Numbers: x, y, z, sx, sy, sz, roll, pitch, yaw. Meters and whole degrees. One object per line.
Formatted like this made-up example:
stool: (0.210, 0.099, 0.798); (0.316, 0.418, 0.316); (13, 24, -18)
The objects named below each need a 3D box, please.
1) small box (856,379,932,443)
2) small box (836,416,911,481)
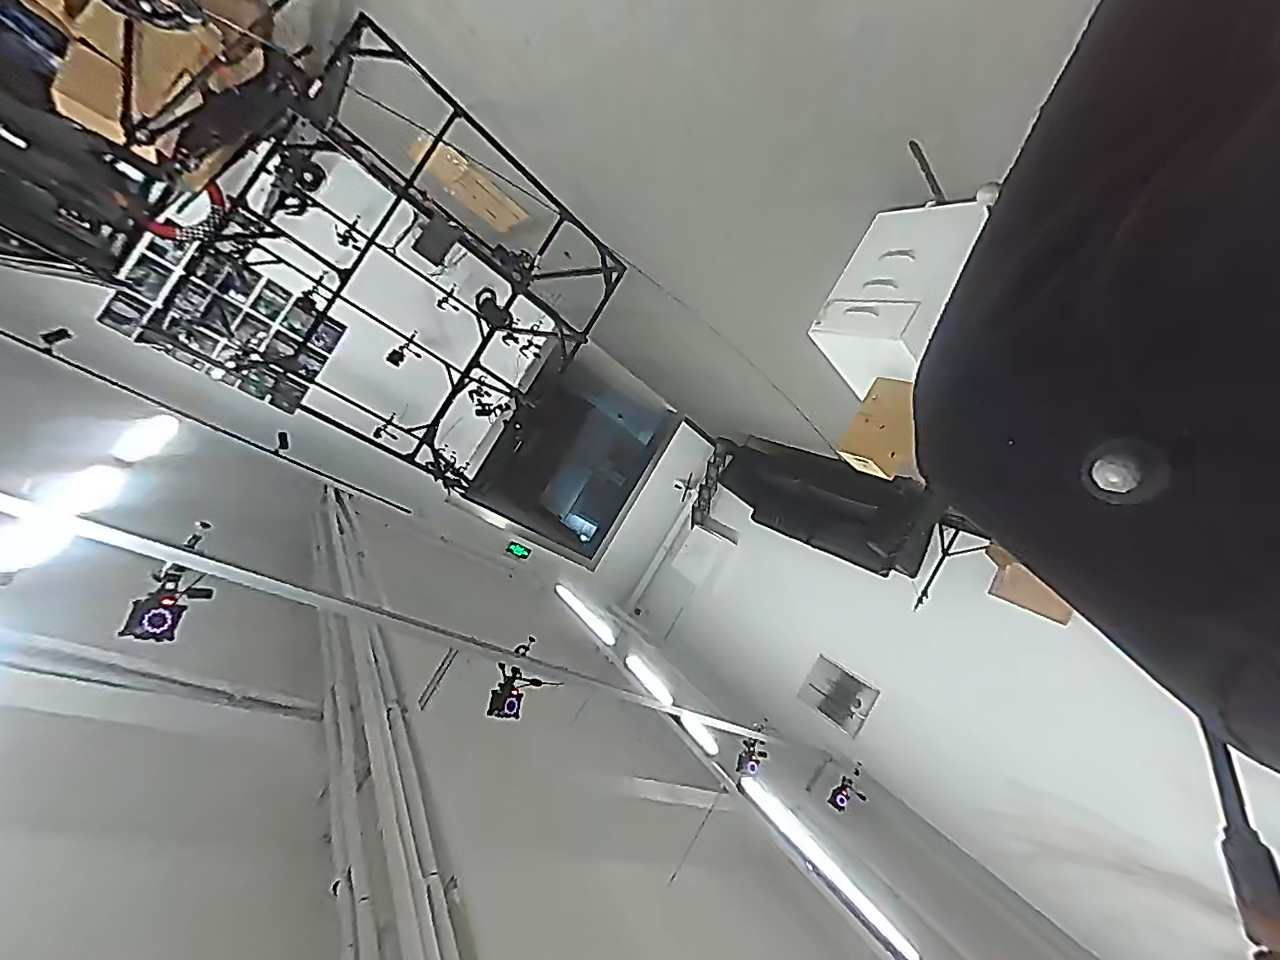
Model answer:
small box: (0.972, -0.268, 2.065); (0.168, 0.176, 0.179); (33, 177, -39)
small box: (0.892, -0.125, 2.062); (0.179, 0.176, 0.168); (31, 179, -35)
